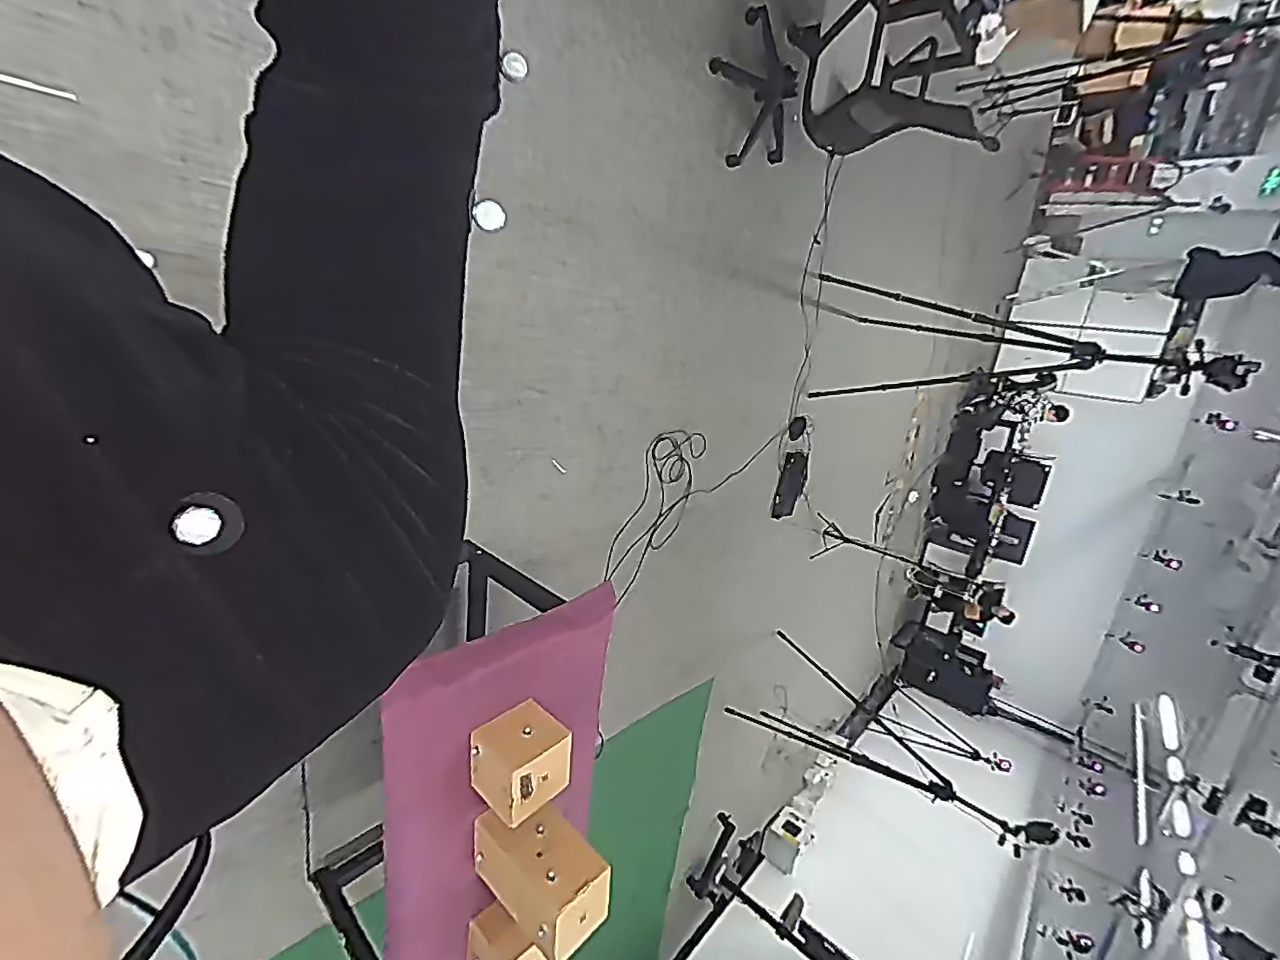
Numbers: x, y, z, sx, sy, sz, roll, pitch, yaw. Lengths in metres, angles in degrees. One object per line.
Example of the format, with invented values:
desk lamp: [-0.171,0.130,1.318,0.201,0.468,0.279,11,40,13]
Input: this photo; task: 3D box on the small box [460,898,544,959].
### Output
small box: [-0.368,1.270,1.488,0.179,0.176,0.168,-6,110,-49]

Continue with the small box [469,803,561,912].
small box: [-0.326,0.939,1.397,0.168,0.176,0.179,-15,117,-47]

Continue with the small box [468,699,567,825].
small box: [-0.300,0.671,1.309,0.179,0.176,0.168,-15,117,-48]

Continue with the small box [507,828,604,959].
small box: [-0.204,0.980,1.295,0.168,0.176,0.179,-14,116,-45]
